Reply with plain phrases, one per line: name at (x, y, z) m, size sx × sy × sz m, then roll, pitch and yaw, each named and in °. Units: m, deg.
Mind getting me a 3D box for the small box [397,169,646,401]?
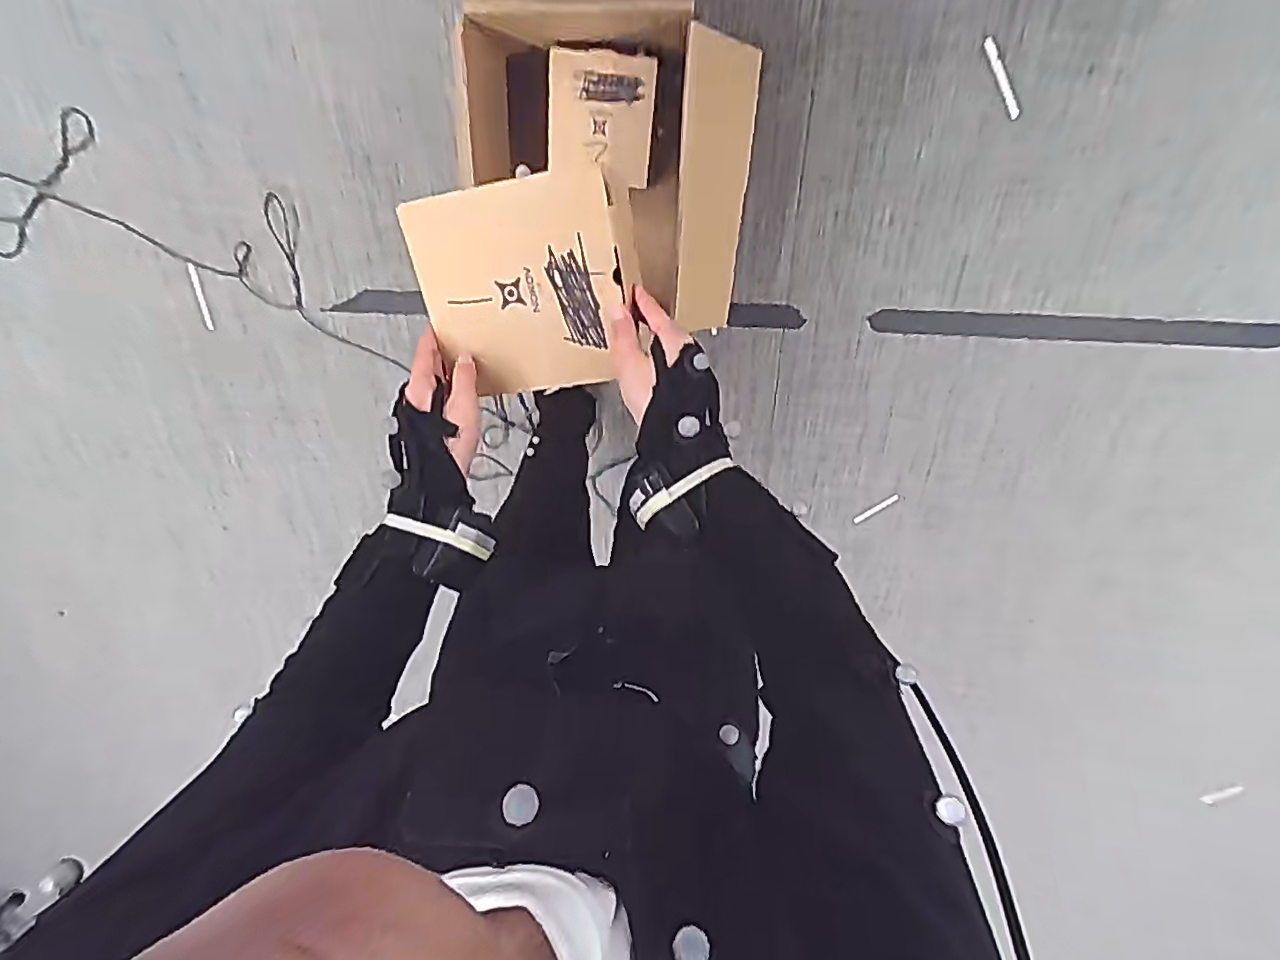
small box at (-0.091, -0.187, 0.521) m, size 0.179 × 0.176 × 0.168 m, roll -7°, pitch 113°, yaw 8°
